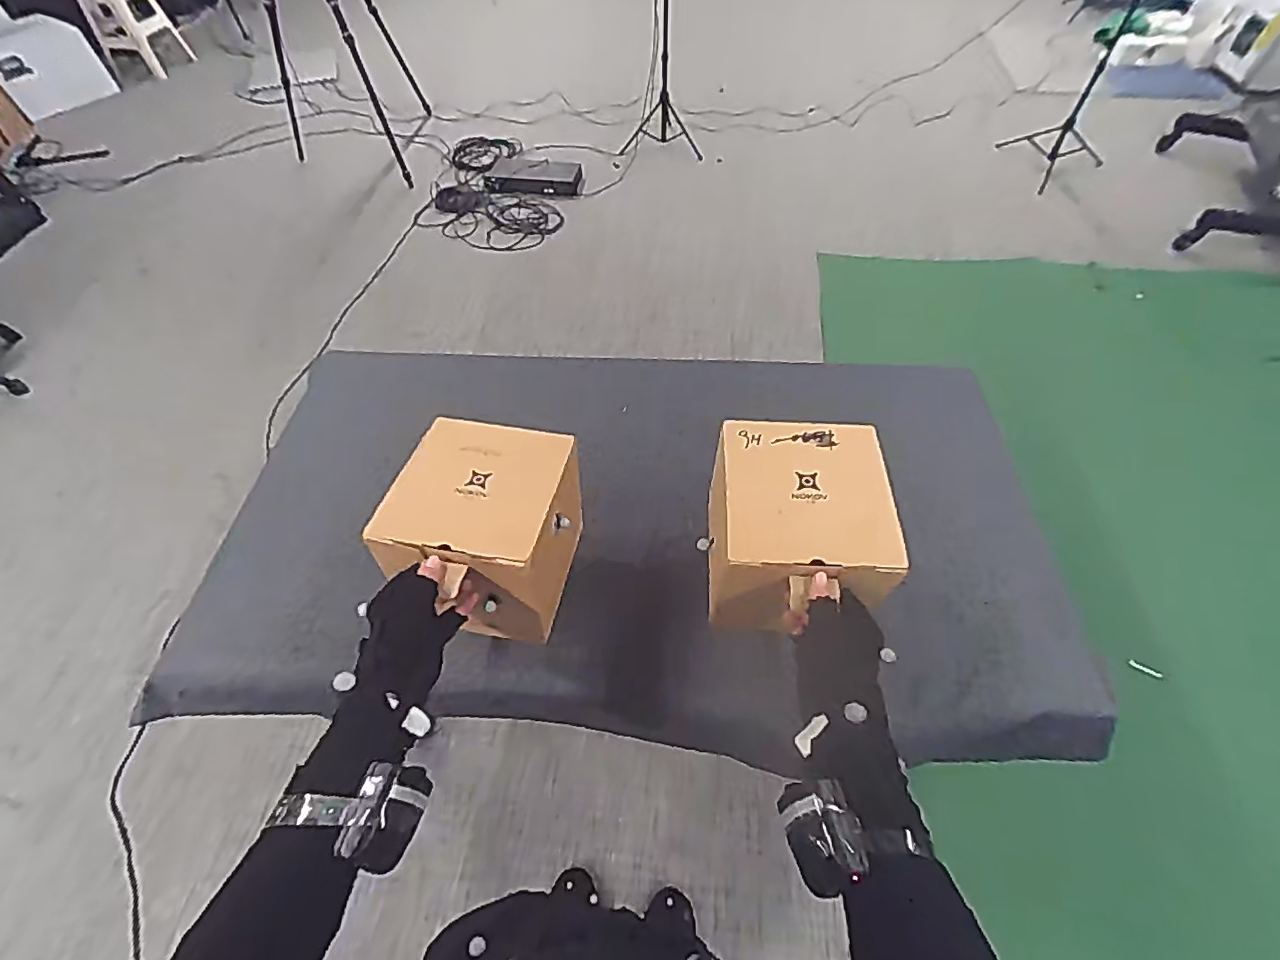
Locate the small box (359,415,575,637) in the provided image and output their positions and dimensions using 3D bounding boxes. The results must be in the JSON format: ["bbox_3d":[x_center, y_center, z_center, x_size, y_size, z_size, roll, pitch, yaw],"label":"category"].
[{"bbox_3d":[-0.172,0.055,0.609,0.168,0.176,0.179,9,48,4],"label":"small box"}]
